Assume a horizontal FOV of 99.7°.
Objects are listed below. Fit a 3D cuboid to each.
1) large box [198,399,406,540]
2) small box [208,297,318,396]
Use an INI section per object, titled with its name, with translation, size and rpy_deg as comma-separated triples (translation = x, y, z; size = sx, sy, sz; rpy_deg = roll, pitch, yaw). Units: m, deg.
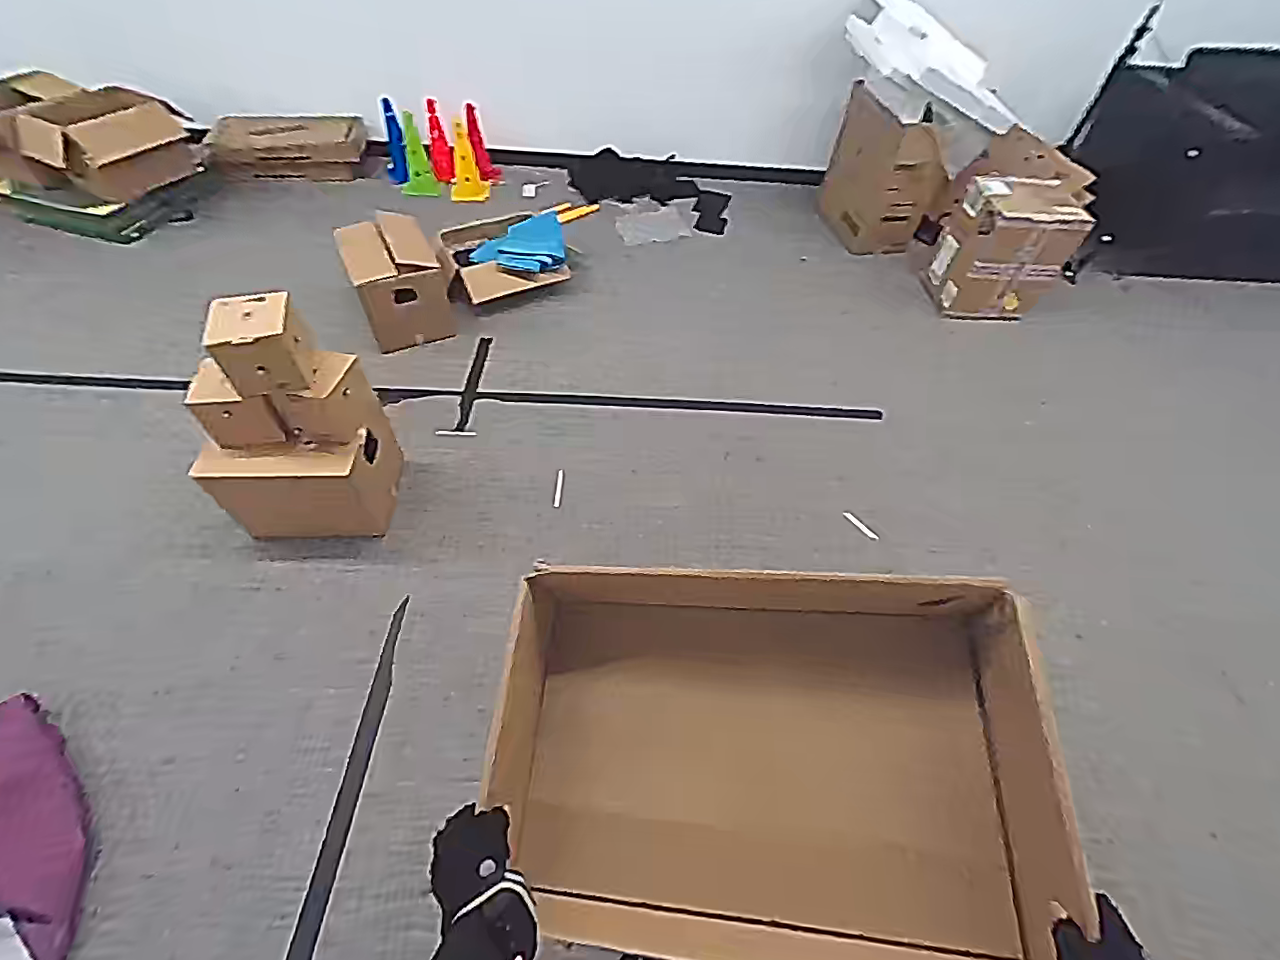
[large box]
translation = -0.976, -0.030, 1.628
size = 0.408, 0.320, 0.320
rpy_deg = 0, 53, -6
[small box]
translation = -0.925, -0.326, 1.346
size = 0.168, 0.176, 0.179
rpy_deg = -11, 55, -13
